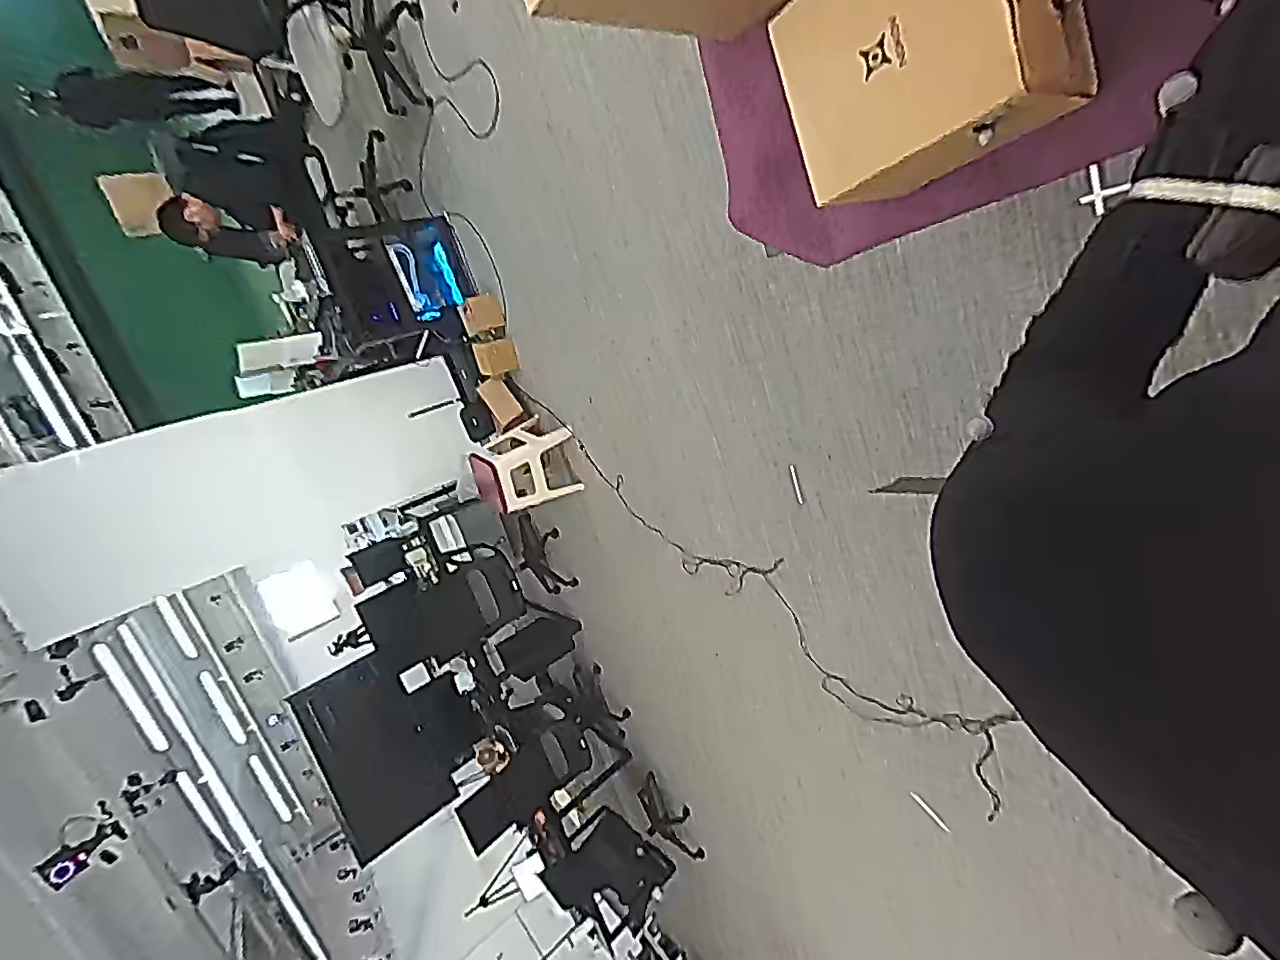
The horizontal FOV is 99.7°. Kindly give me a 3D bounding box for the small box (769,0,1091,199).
[{"bbox_3d":[0.251,-0.373,0.475,0.179,0.176,0.168,-8,105,55],"label":"small box"}]

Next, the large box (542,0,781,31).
[{"bbox_3d":[0.044,-0.671,0.418,0.320,0.320,0.408,-2,113,53],"label":"large box"}]
